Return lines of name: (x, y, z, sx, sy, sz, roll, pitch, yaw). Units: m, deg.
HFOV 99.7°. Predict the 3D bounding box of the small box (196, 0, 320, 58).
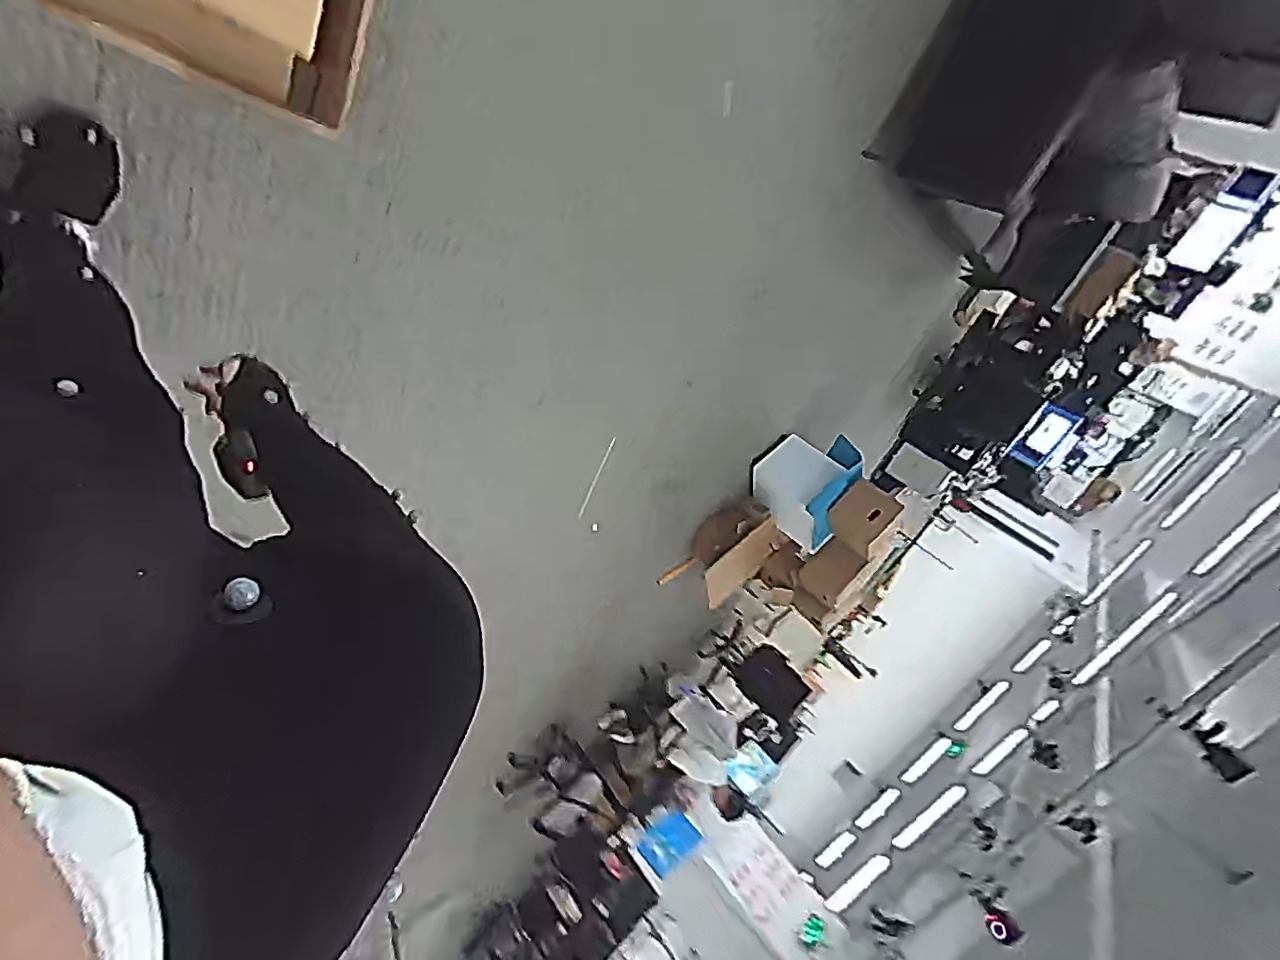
small box: (-0.628, -0.831, 0.865, 0.168, 0.176, 0.179, -1, 125, -52)
